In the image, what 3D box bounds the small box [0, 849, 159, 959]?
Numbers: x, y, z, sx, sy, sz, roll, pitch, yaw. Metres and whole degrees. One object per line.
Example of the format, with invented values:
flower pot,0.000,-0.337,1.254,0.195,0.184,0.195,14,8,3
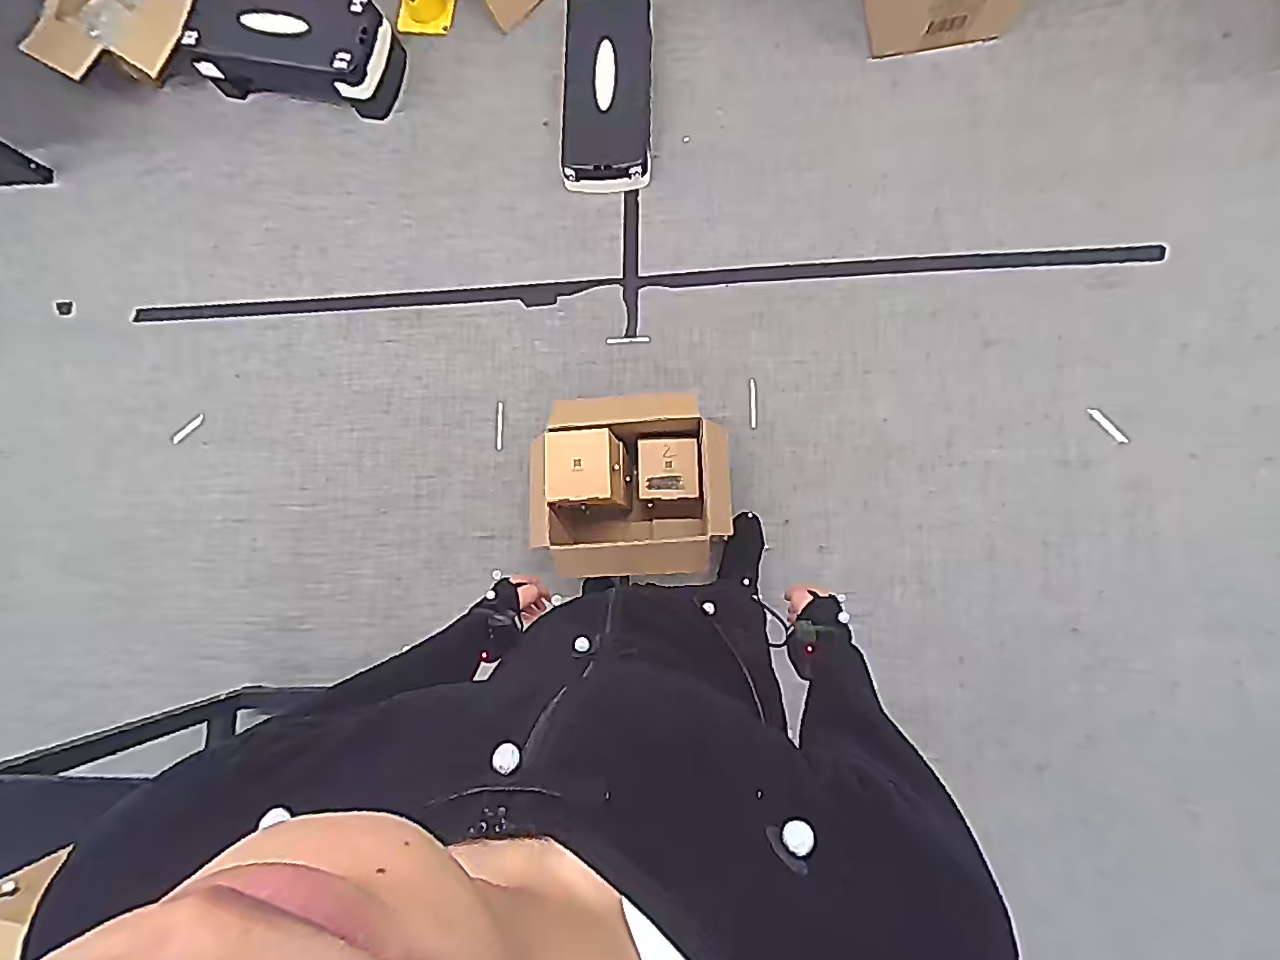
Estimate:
small box,-0.916,0.711,0.837,0.179,0.176,0.168,6,85,6
